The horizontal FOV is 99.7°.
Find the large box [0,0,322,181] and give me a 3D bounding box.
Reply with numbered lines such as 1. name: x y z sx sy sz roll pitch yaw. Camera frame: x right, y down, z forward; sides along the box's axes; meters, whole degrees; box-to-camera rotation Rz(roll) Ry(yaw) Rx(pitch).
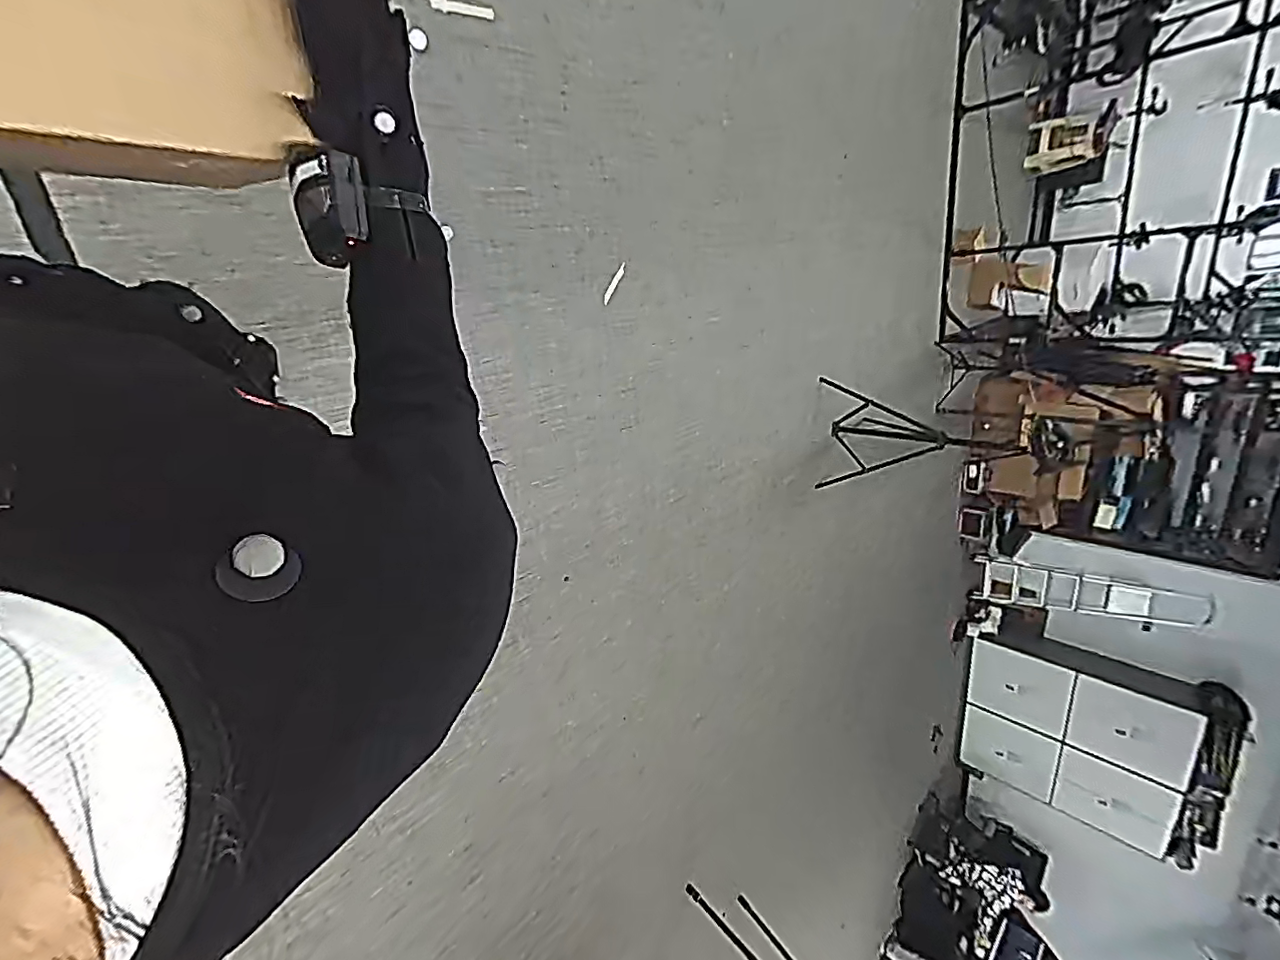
1. large box: -0.478 -0.370 0.308 0.408 0.320 0.320 -20 122 -42
